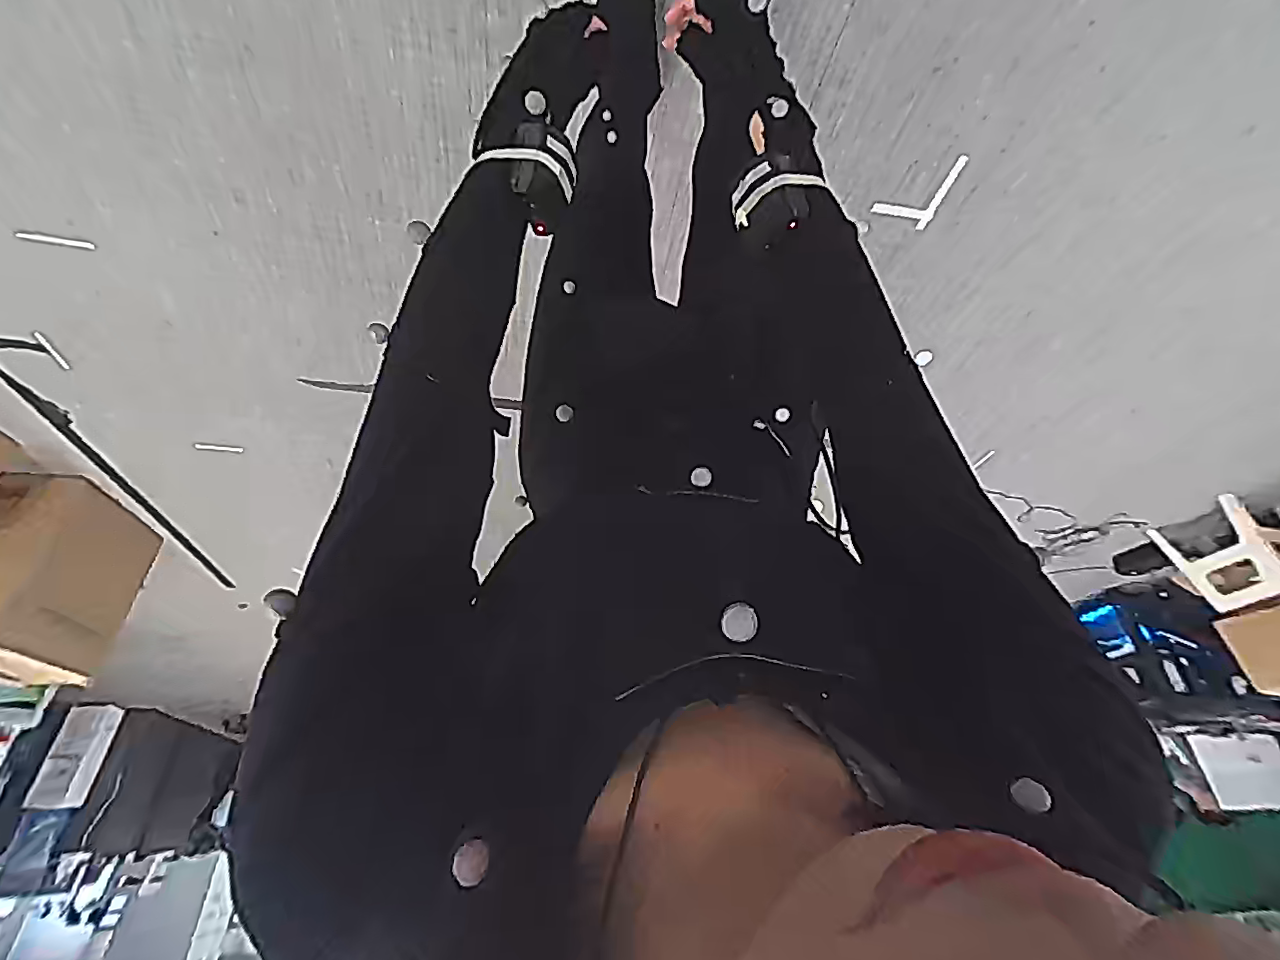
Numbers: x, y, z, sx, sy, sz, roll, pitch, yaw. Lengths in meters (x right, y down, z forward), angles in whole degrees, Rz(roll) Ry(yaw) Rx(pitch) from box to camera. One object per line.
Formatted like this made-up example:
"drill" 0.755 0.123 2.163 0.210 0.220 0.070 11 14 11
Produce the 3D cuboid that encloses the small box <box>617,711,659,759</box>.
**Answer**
"small box" -0.012 1.119 2.369 0.168 0.176 0.179 1 145 -6
